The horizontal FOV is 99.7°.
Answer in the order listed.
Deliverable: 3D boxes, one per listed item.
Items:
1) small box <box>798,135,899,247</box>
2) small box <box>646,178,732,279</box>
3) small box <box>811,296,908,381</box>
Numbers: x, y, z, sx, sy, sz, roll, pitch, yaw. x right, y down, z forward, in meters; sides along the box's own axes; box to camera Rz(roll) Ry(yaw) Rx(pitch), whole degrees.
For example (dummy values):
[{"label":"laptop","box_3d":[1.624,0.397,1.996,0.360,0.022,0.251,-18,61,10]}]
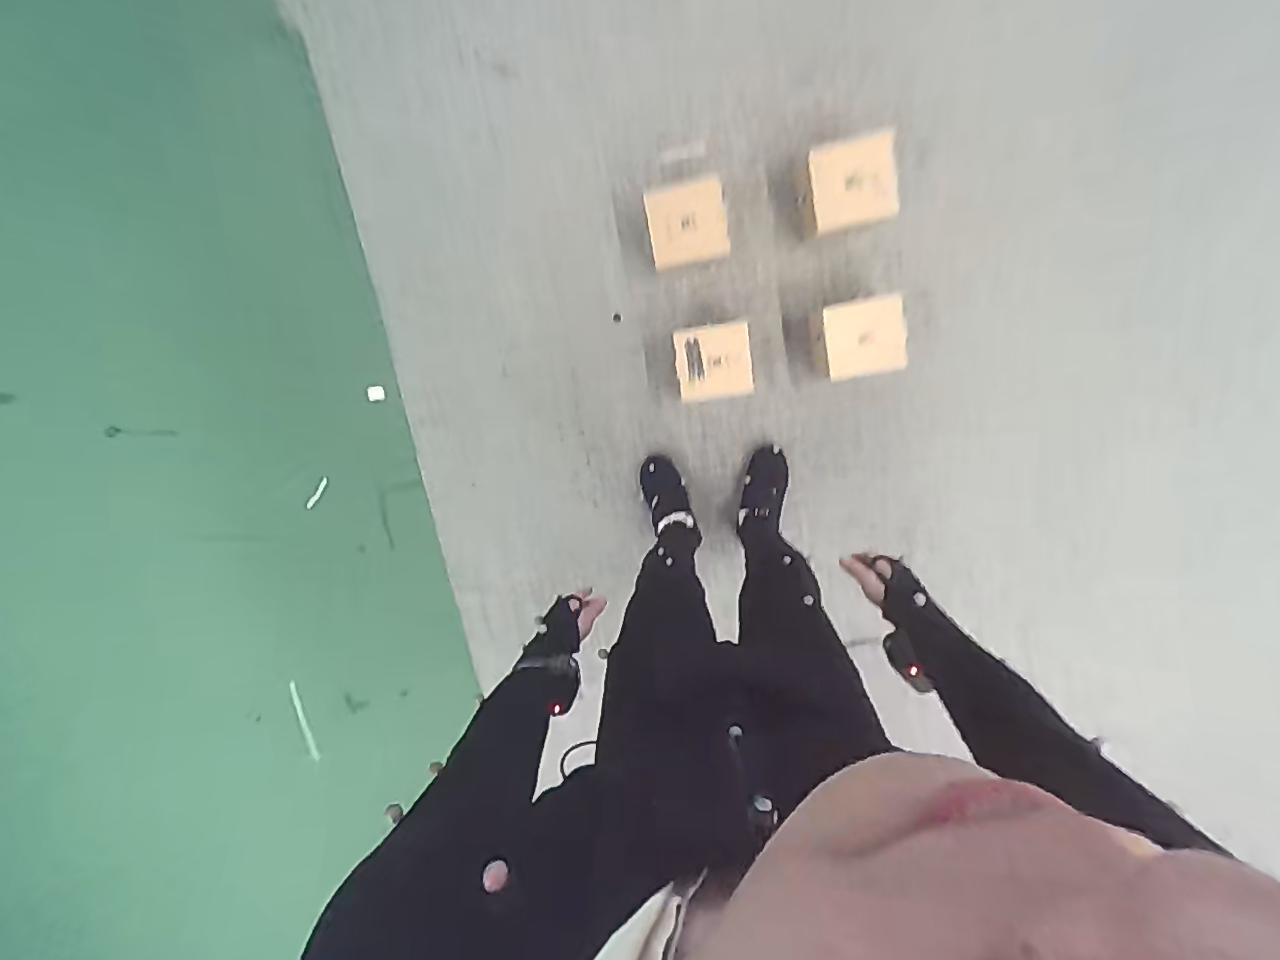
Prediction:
[{"label":"small box","box_3d":[0.466,-0.646,1.232,0.179,0.176,0.168,-9,102,7]},{"label":"small box","box_3d":[0.116,-0.586,1.282,0.179,0.176,0.168,-9,101,8]},{"label":"small box","box_3d":[0.518,-0.333,1.300,0.179,0.176,0.168,-10,101,7]}]
